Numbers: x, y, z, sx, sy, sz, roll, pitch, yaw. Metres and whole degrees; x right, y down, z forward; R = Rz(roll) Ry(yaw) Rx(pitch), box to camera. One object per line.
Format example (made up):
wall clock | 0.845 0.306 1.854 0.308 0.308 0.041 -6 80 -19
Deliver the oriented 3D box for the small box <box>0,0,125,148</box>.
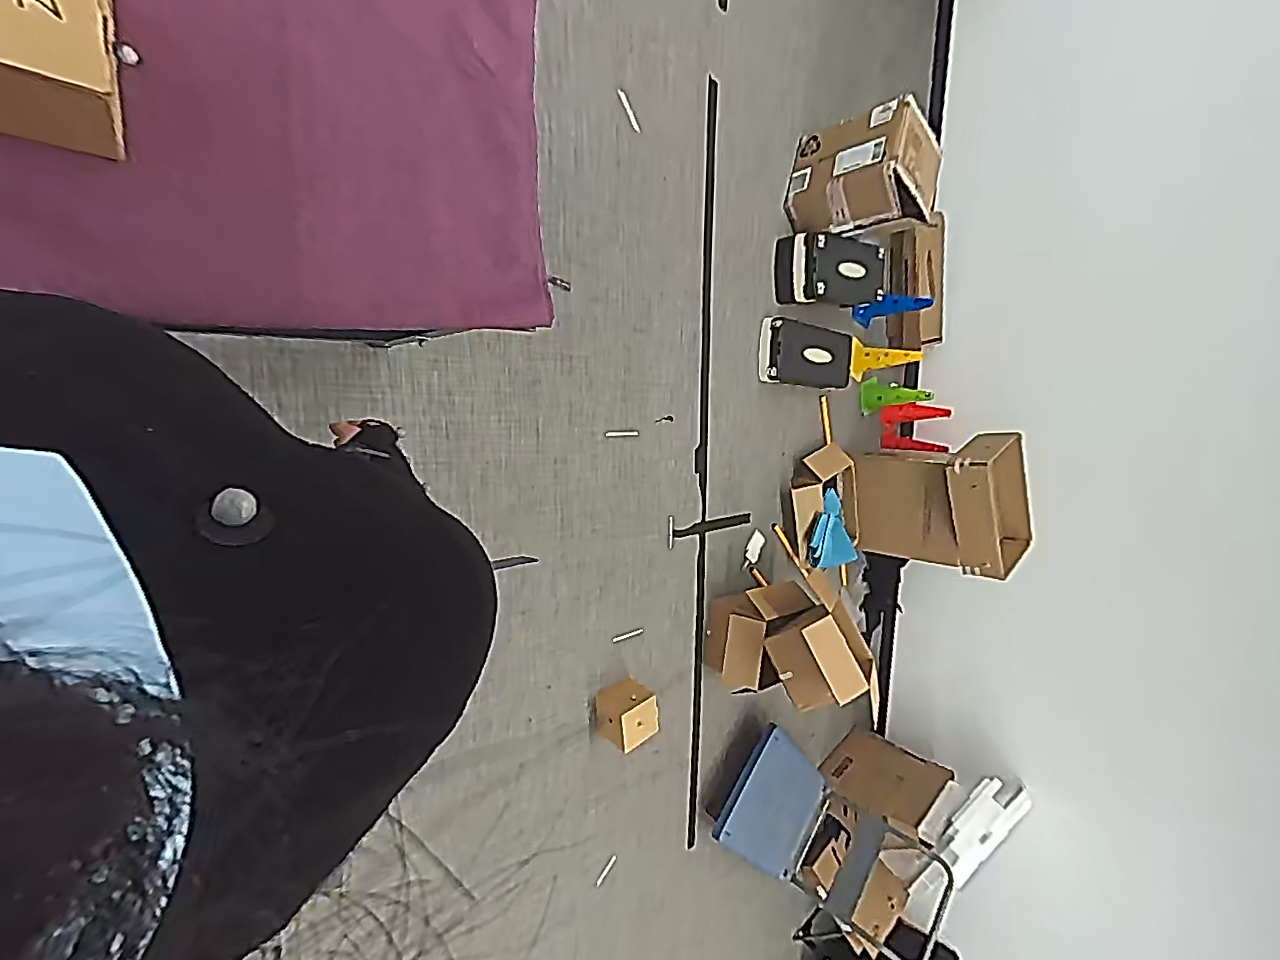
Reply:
small box | -0.531 -0.393 0.422 0.179 0.176 0.168 -4 100 -42

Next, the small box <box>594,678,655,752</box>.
small box | -0.064 0.895 2.073 0.179 0.176 0.168 -16 108 -40
